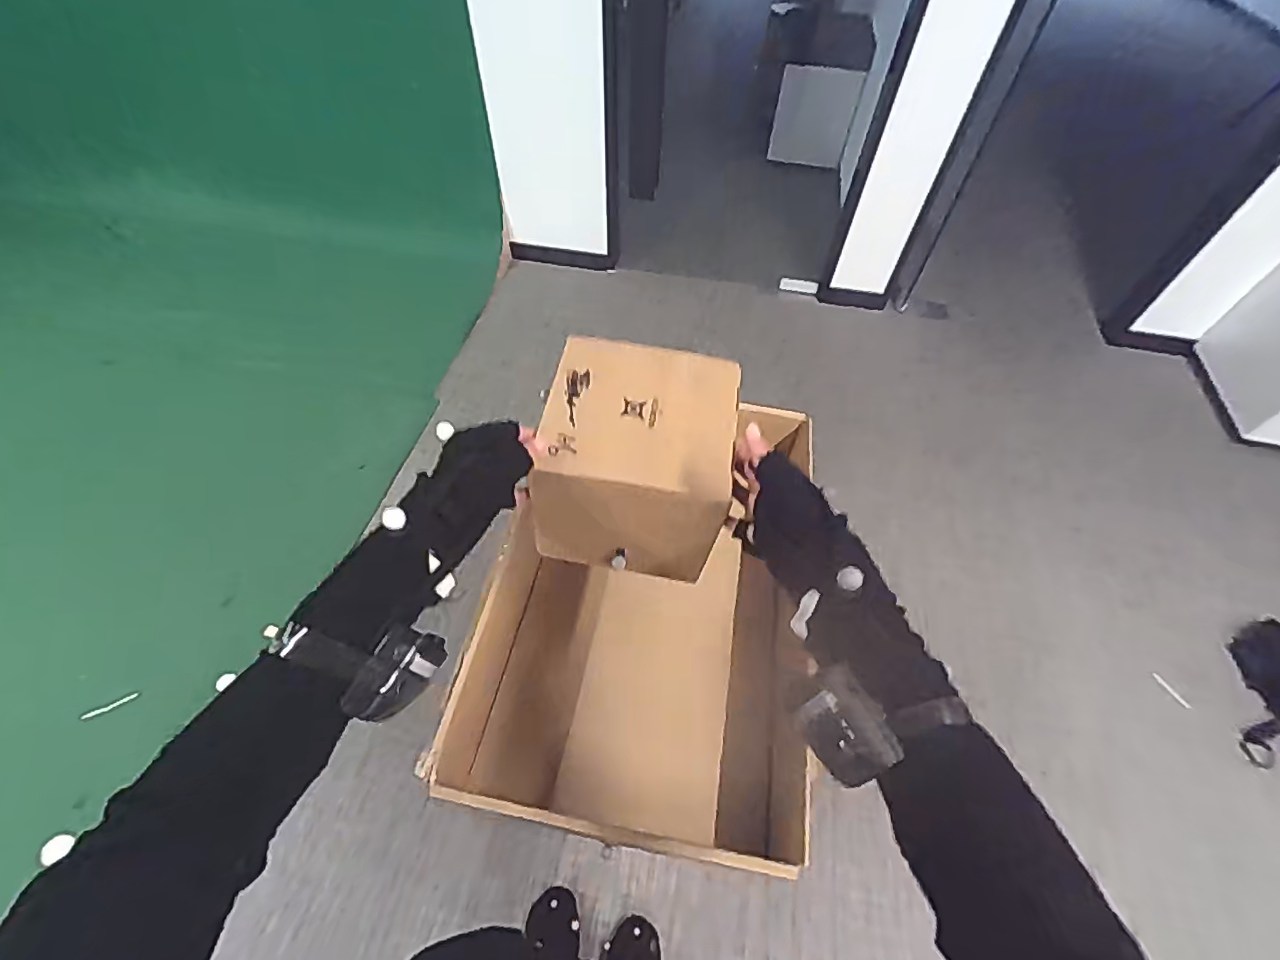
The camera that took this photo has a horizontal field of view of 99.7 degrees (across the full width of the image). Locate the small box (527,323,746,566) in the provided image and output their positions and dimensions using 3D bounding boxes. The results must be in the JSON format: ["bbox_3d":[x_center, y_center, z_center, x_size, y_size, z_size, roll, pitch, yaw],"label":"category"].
[{"bbox_3d":[-0.003,-0.027,0.549,0.179,0.176,0.168,10,57,0],"label":"small box"}]
